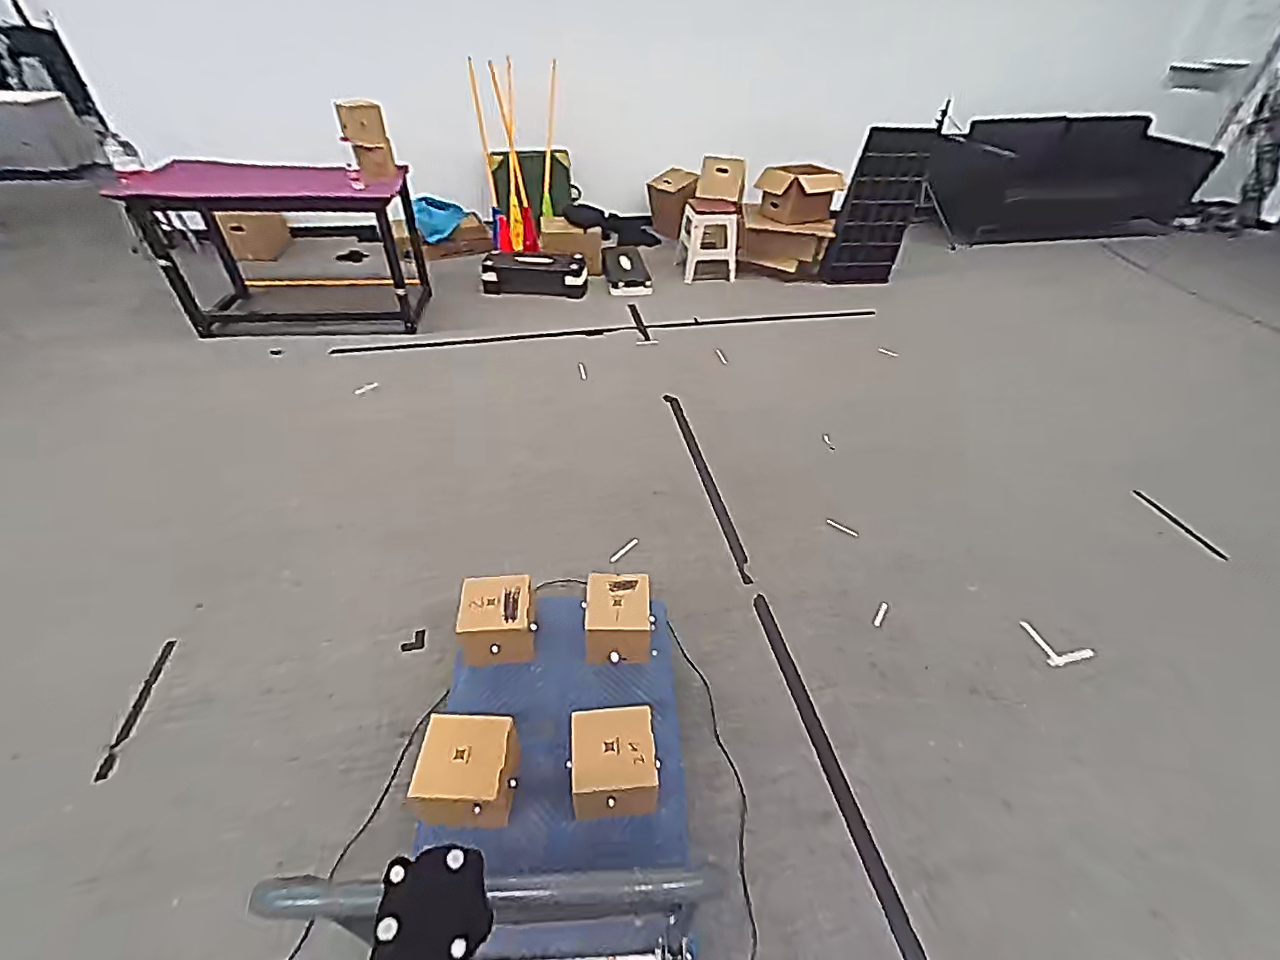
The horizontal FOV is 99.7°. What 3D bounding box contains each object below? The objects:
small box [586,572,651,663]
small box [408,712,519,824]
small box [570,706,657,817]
[{"bbox_3d":[-0.058,0.371,1.458,0.168,0.176,0.179,1,43,-2],"label":"small box"},{"bbox_3d":[-0.368,0.621,1.162,0.179,0.176,0.168,3,41,-2],"label":"small box"},{"bbox_3d":[-0.058,0.617,1.183,0.179,0.176,0.168,-2,42,-5],"label":"small box"}]
